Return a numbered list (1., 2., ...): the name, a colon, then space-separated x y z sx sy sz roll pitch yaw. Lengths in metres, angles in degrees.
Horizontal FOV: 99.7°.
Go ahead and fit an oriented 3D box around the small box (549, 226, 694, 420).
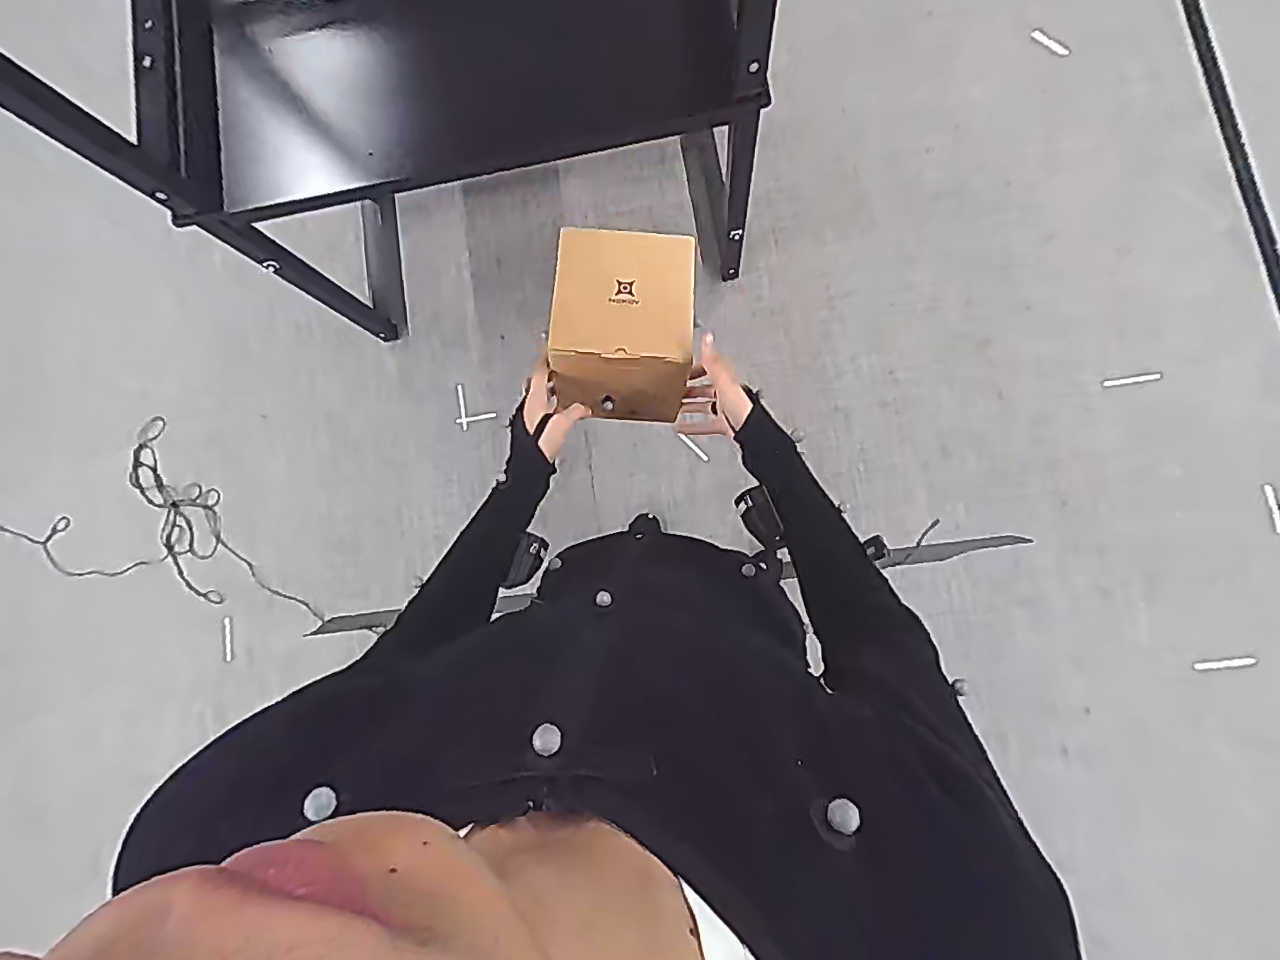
1. small box: -0.024 -0.196 0.707 0.168 0.176 0.179 3 72 -3
